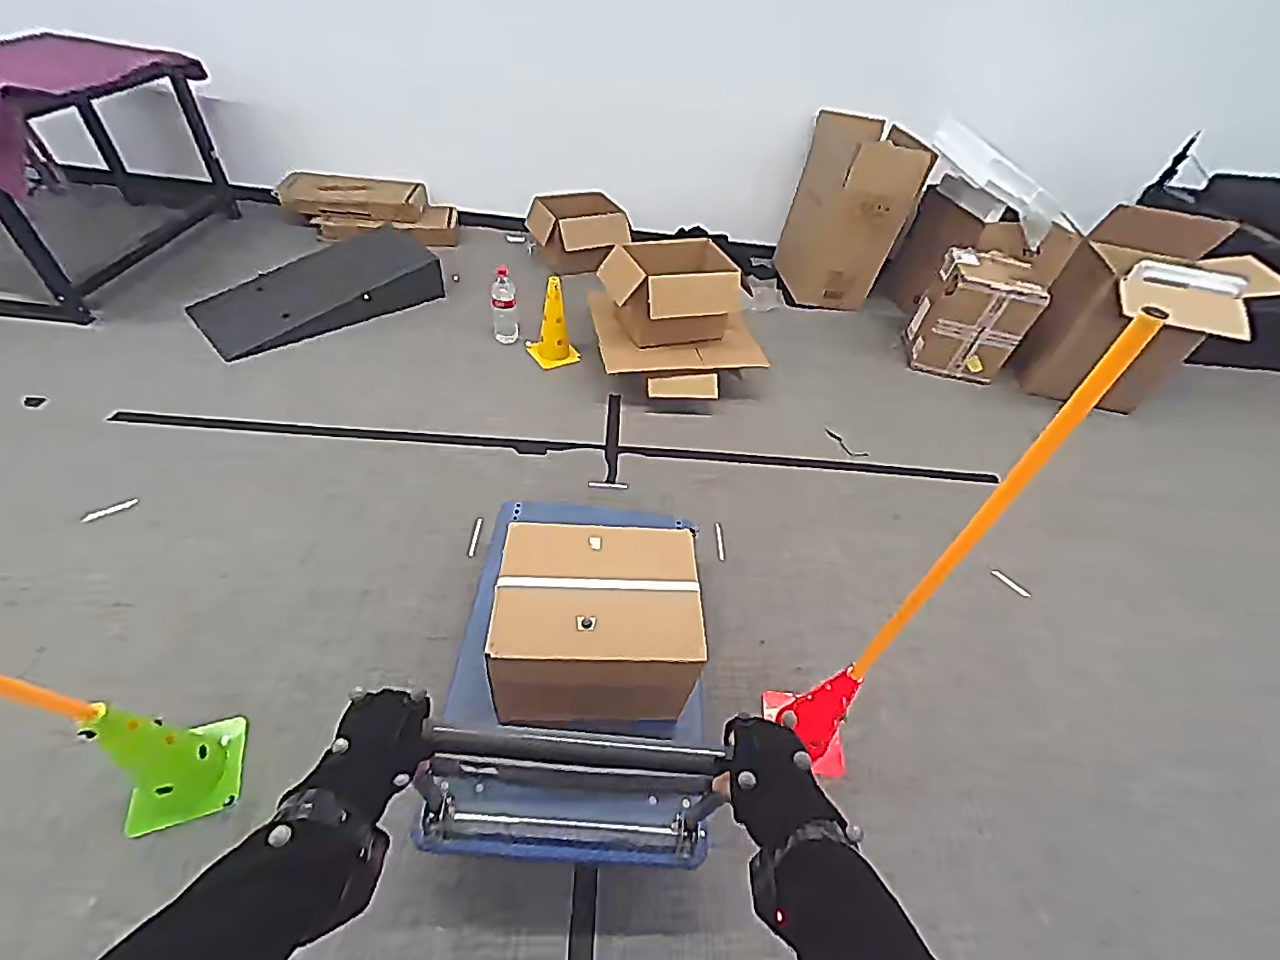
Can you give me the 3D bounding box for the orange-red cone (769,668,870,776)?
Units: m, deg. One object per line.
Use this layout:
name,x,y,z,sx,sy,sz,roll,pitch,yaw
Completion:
orange-red cone,0.458,0.540,1.290,0.199,0.360,0.198,10,46,-1
